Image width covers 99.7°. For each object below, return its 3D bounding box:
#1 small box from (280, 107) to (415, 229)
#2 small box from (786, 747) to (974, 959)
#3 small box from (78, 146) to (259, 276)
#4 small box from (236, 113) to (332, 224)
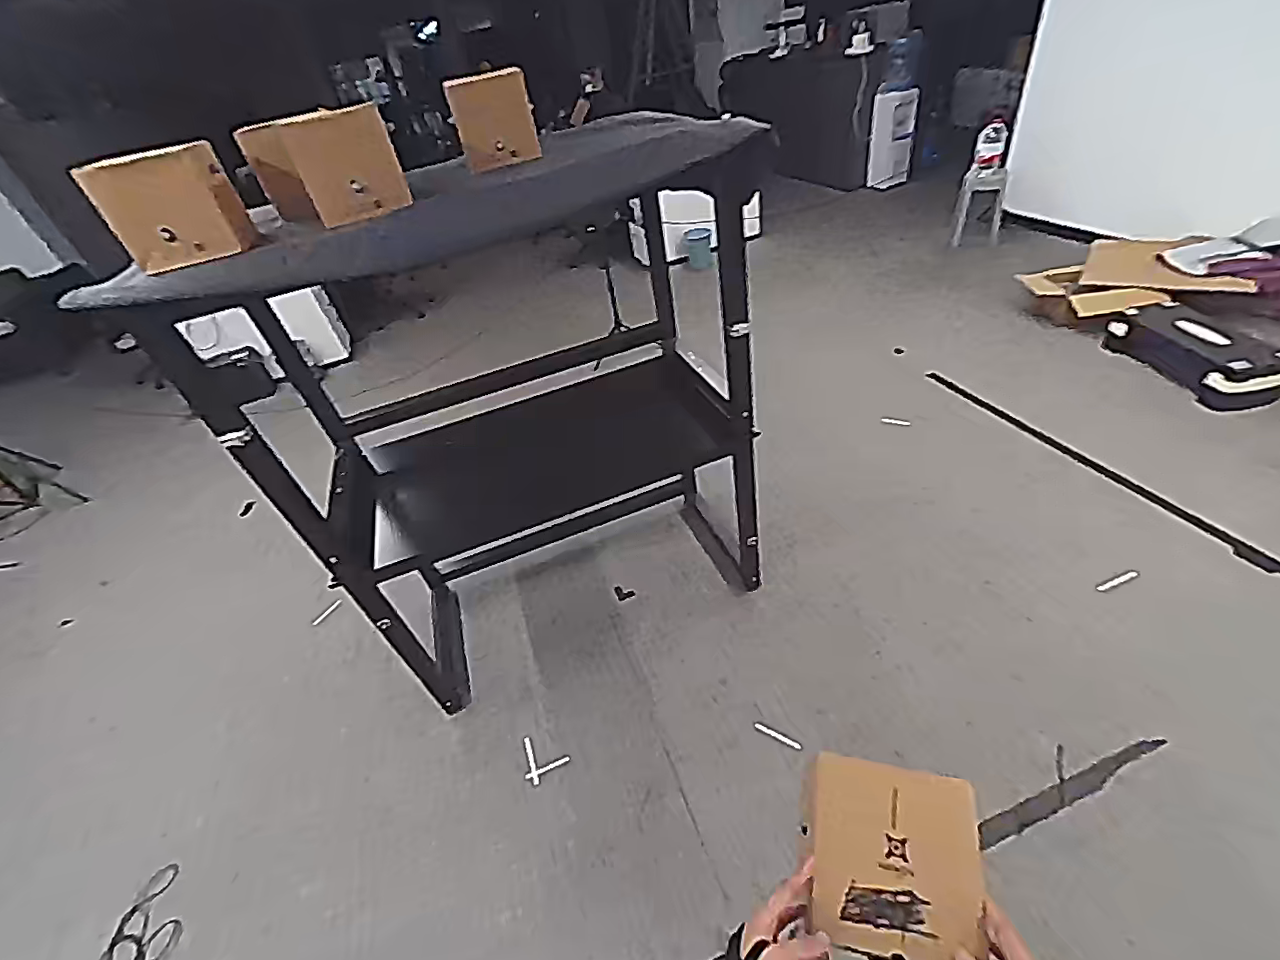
[{"bbox_3d":[-0.547,-0.597,1.036,0.168,0.176,0.179,-21,40,-11],"label":"small box"},{"bbox_3d":[0.266,0.436,0.639,0.168,0.176,0.179,5,57,12],"label":"small box"},{"bbox_3d":[-0.825,-0.484,0.973,0.168,0.176,0.179,-21,40,-12],"label":"small box"},{"bbox_3d":[-0.726,-0.679,1.179,0.179,0.176,0.168,-21,41,-12],"label":"small box"}]
